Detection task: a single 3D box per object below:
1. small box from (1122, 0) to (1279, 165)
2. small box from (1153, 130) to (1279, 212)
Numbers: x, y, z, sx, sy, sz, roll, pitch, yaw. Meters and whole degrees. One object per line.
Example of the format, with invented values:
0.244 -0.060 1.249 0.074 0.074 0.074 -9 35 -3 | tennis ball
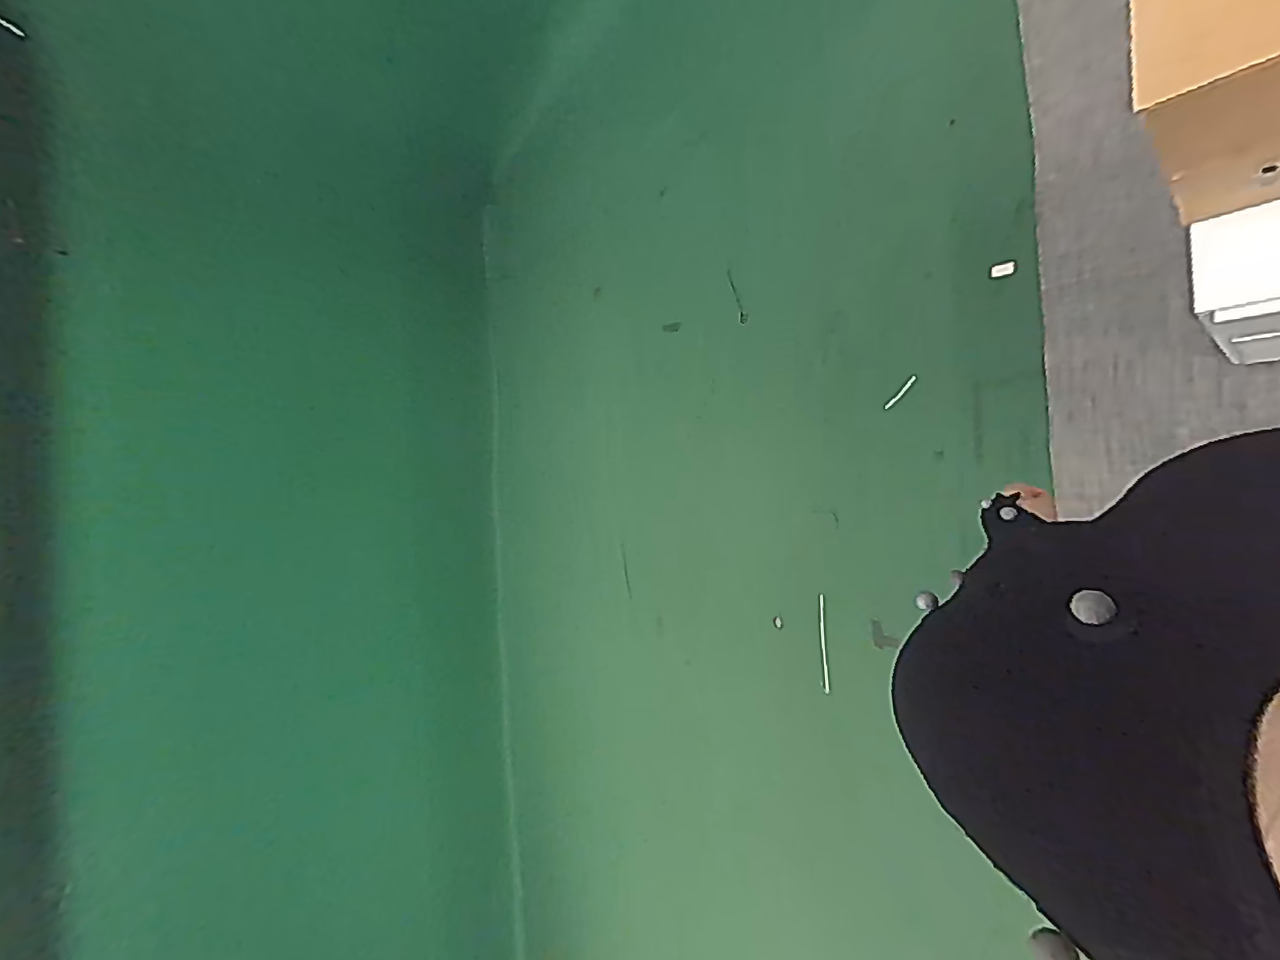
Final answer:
0.538 -0.407 0.458 0.179 0.176 0.168 -2 90 49 | small box
0.663 -0.410 0.562 0.179 0.176 0.168 -5 89 50 | small box
